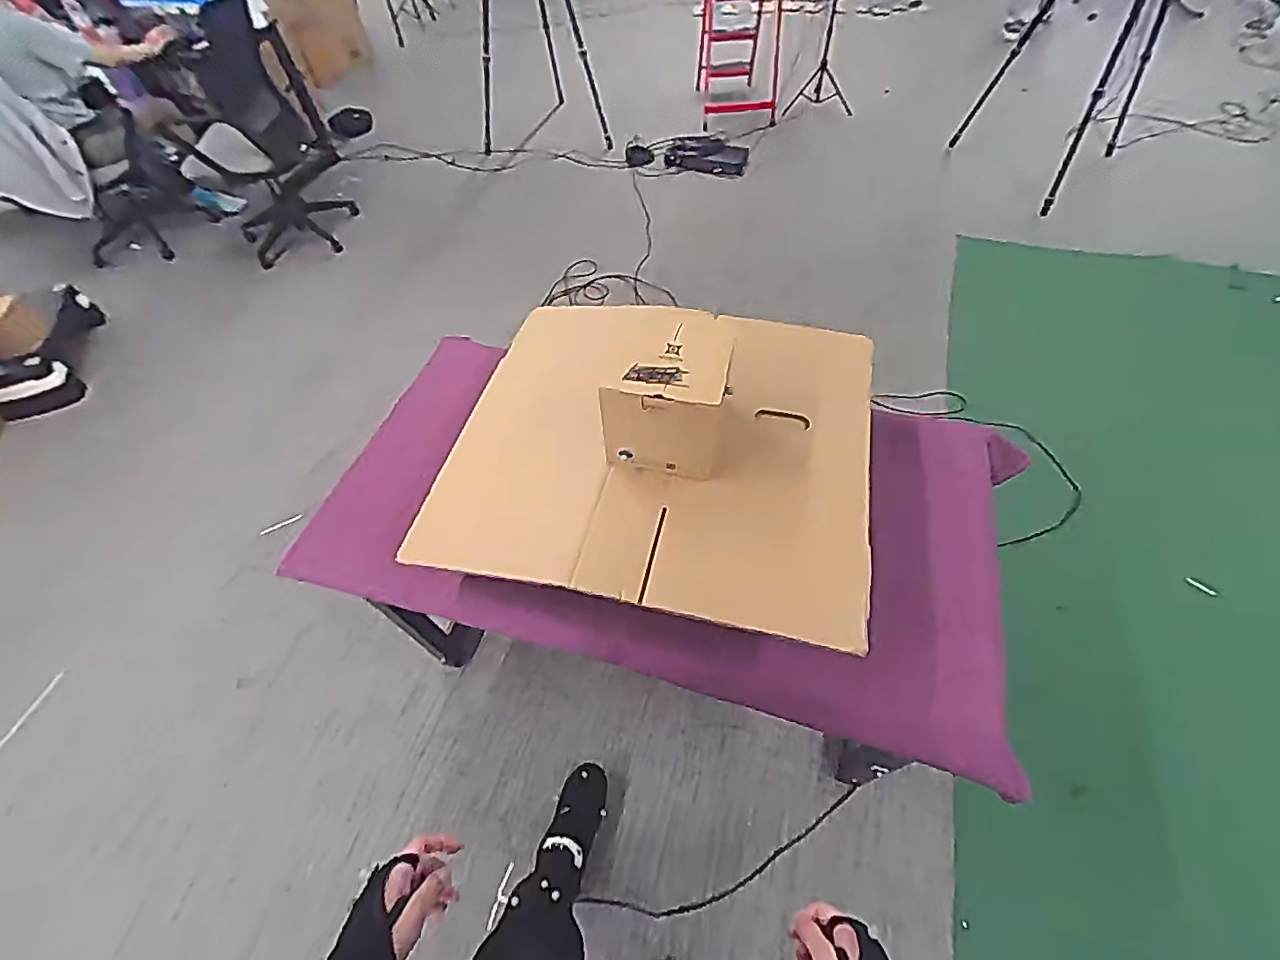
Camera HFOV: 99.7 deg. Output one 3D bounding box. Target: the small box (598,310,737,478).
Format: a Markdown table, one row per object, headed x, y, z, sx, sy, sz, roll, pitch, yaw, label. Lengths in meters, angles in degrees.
| x | y | z | sx | sy | sz | roll | pitch | yaw | label |
| --- | --- | --- | --- | --- | --- | --- | --- | --- | --- |
| 0.045 | -0.126 | 0.815 | 0.168 | 0.176 | 0.179 | 11 | 55 | 9 | small box |
